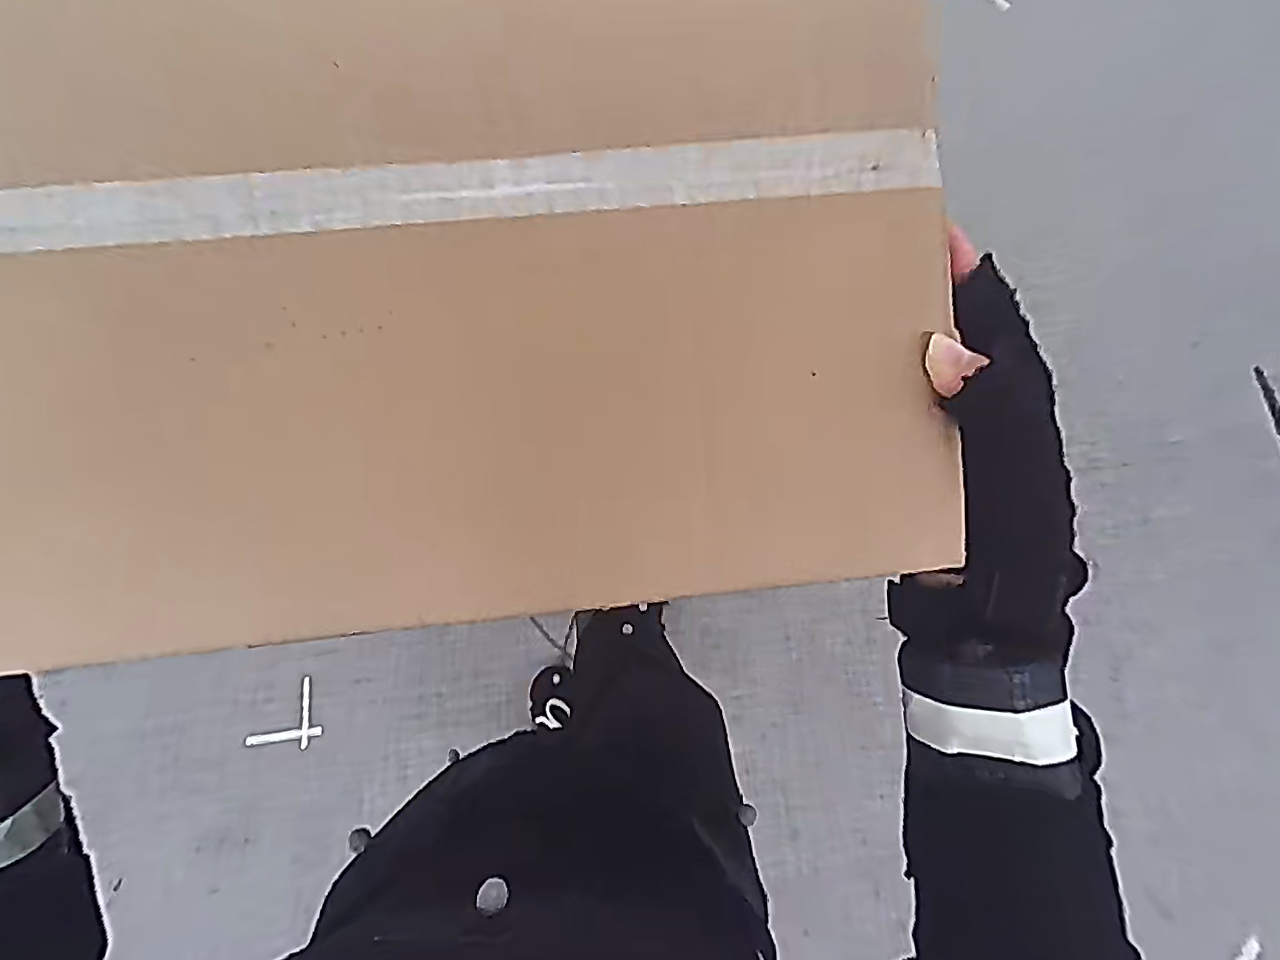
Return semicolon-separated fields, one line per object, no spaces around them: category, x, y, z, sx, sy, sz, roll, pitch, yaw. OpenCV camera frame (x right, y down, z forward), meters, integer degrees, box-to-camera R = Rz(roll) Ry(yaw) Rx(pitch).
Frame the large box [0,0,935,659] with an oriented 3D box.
large box;-0.093;-0.104;0.369;0.408;0.320;0.320;-6;93;-3
